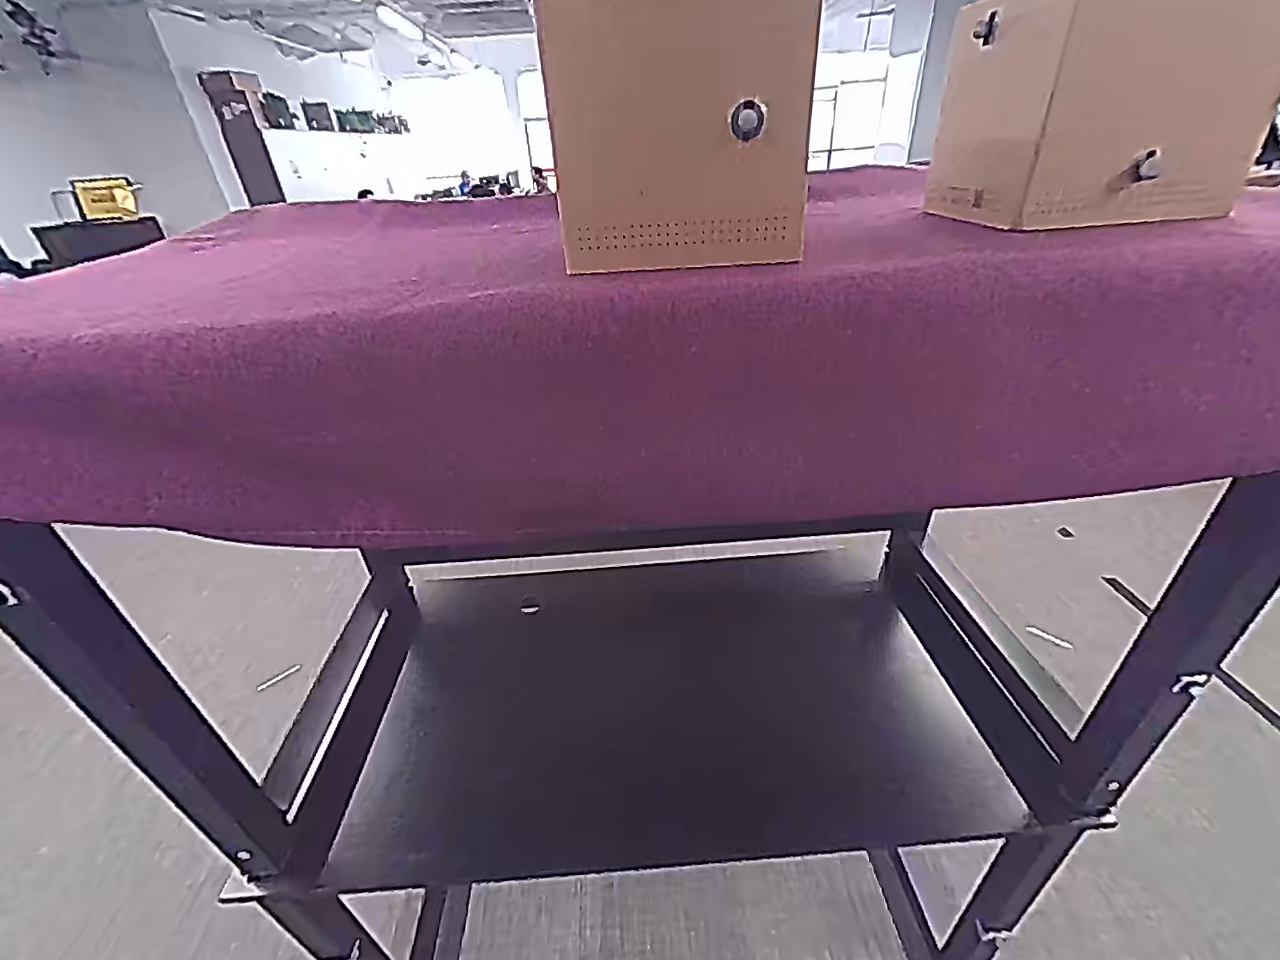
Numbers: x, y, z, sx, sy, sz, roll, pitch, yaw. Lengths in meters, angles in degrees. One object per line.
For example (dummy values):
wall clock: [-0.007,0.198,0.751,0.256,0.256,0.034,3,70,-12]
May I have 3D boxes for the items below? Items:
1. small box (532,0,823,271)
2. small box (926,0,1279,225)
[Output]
small box: [0.030,-0.269,0.422,0.179,0.176,0.168,-2,31,4]
small box: [0.378,-0.322,0.459,0.179,0.176,0.168,-4,31,1]
